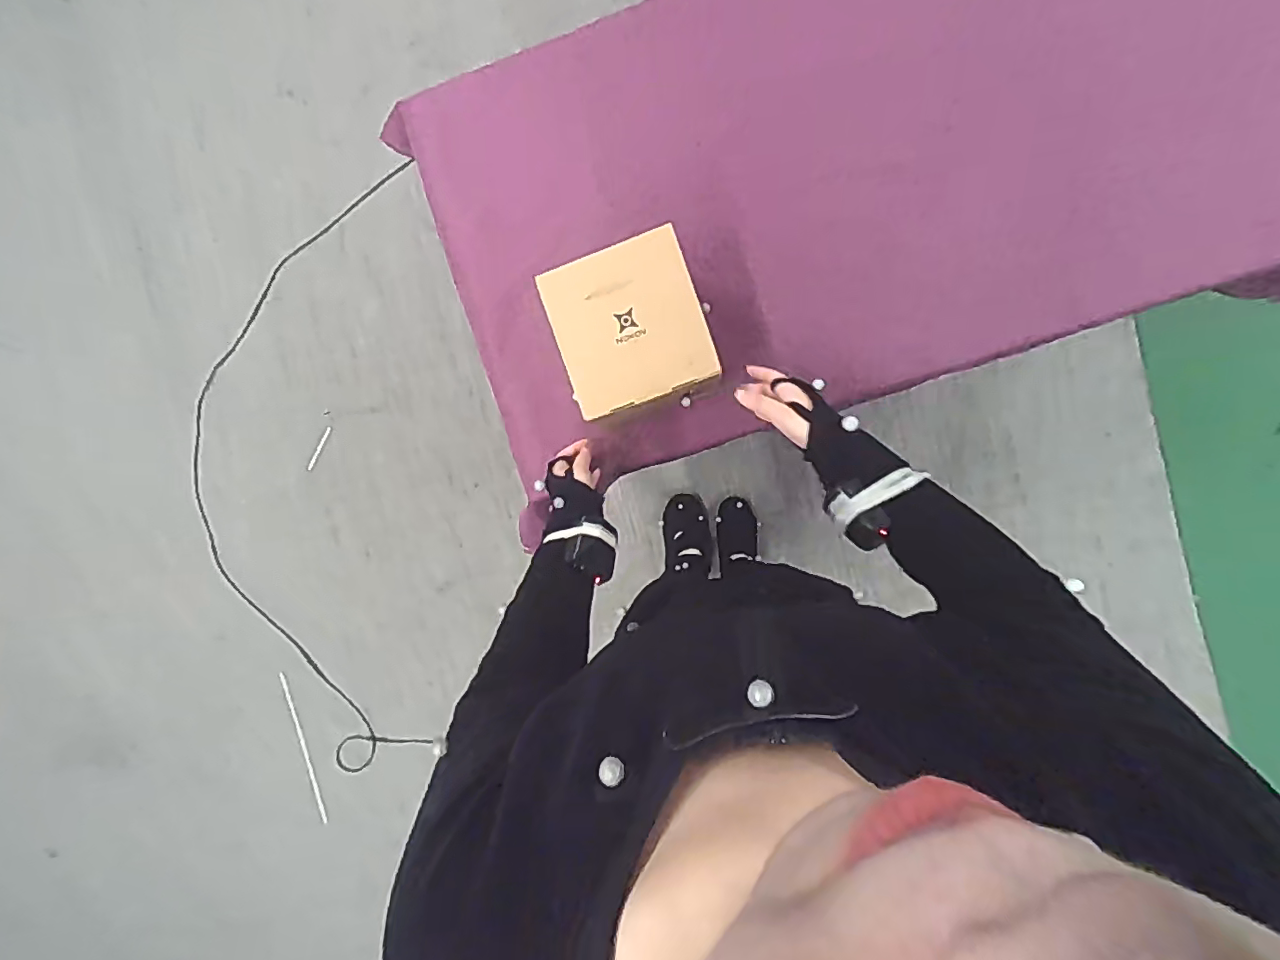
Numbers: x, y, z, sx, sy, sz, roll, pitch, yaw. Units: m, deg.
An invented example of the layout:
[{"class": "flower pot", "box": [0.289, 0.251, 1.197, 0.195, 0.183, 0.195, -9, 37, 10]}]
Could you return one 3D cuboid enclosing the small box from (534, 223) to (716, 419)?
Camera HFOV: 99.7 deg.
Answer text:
[{"class": "small box", "box": [-0.010, -0.182, 0.681, 0.168, 0.176, 0.179, -19, 91, 5]}]
